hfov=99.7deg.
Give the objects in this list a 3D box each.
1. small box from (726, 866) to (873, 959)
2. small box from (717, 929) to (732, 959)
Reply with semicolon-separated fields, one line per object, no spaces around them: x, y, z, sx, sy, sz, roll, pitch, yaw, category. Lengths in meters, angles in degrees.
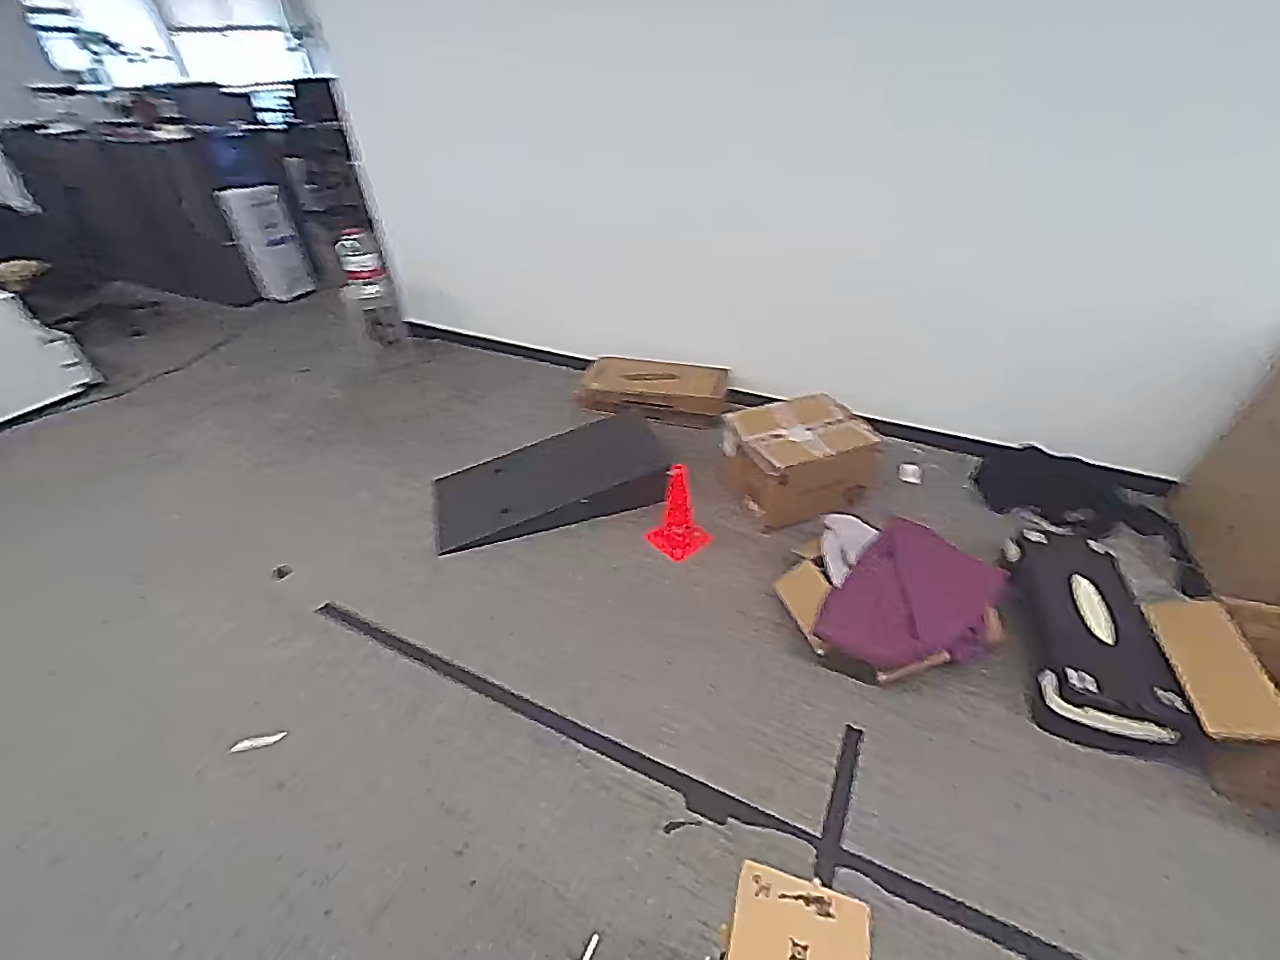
0.195;0.649;0.697;0.168;0.176;0.179;10;42;16;small box
0.200;0.905;0.902;0.179;0.176;0.168;13;41;18;small box
